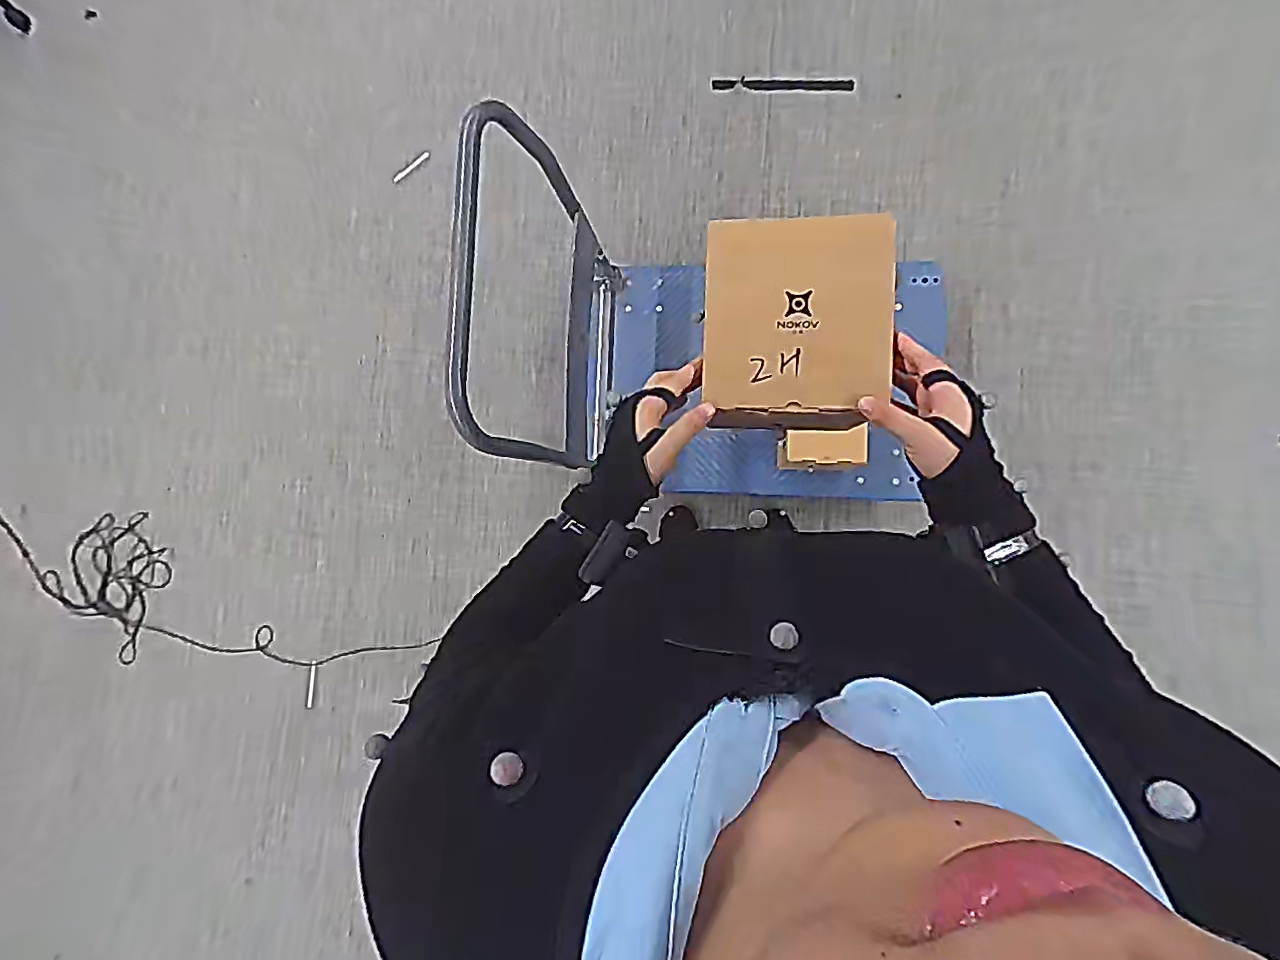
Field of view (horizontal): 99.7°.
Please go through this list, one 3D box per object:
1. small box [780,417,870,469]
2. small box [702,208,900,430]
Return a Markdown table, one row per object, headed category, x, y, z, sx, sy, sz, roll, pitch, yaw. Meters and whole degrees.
| category | x | y | z | sx | sy | sz | roll | pitch | yaw |
| --- | --- | --- | --- | --- | --- | --- | --- | --- | --- |
| small box | 0.411 | -0.121 | 1.222 | 0.168 | 0.176 | 0.179 | 2 | 87 | 7 |
| small box | 0.150 | -0.150 | 0.554 | 0.168 | 0.176 | 0.179 | 3 | 90 | 8 |
